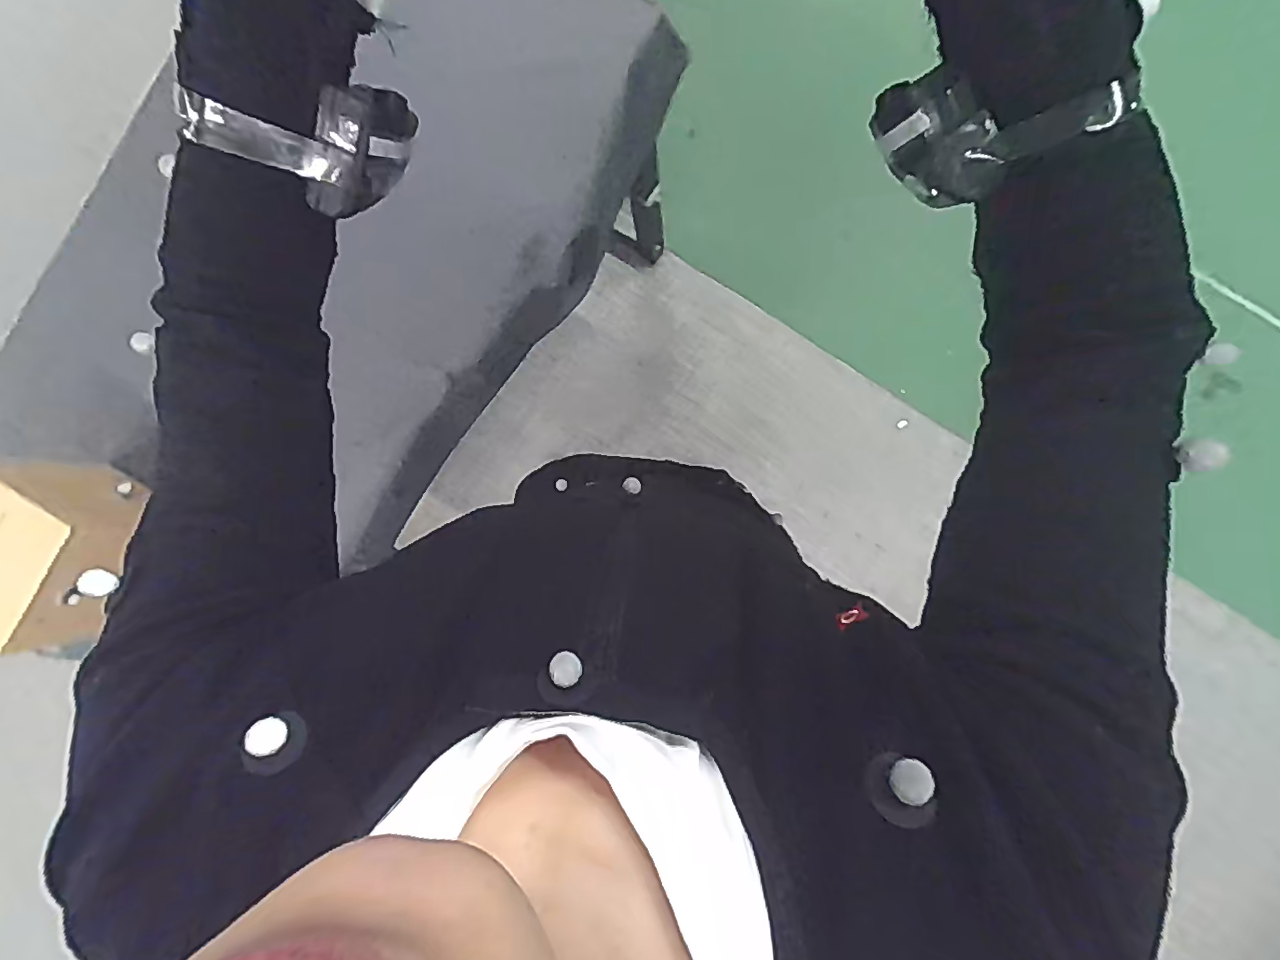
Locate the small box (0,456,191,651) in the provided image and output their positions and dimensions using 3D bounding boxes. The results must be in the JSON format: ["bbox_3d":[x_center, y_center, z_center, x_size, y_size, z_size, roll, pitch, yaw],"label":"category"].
[{"bbox_3d":[-0.752,0.086,0.705,0.168,0.176,0.179,30,90,3],"label":"small box"}]
